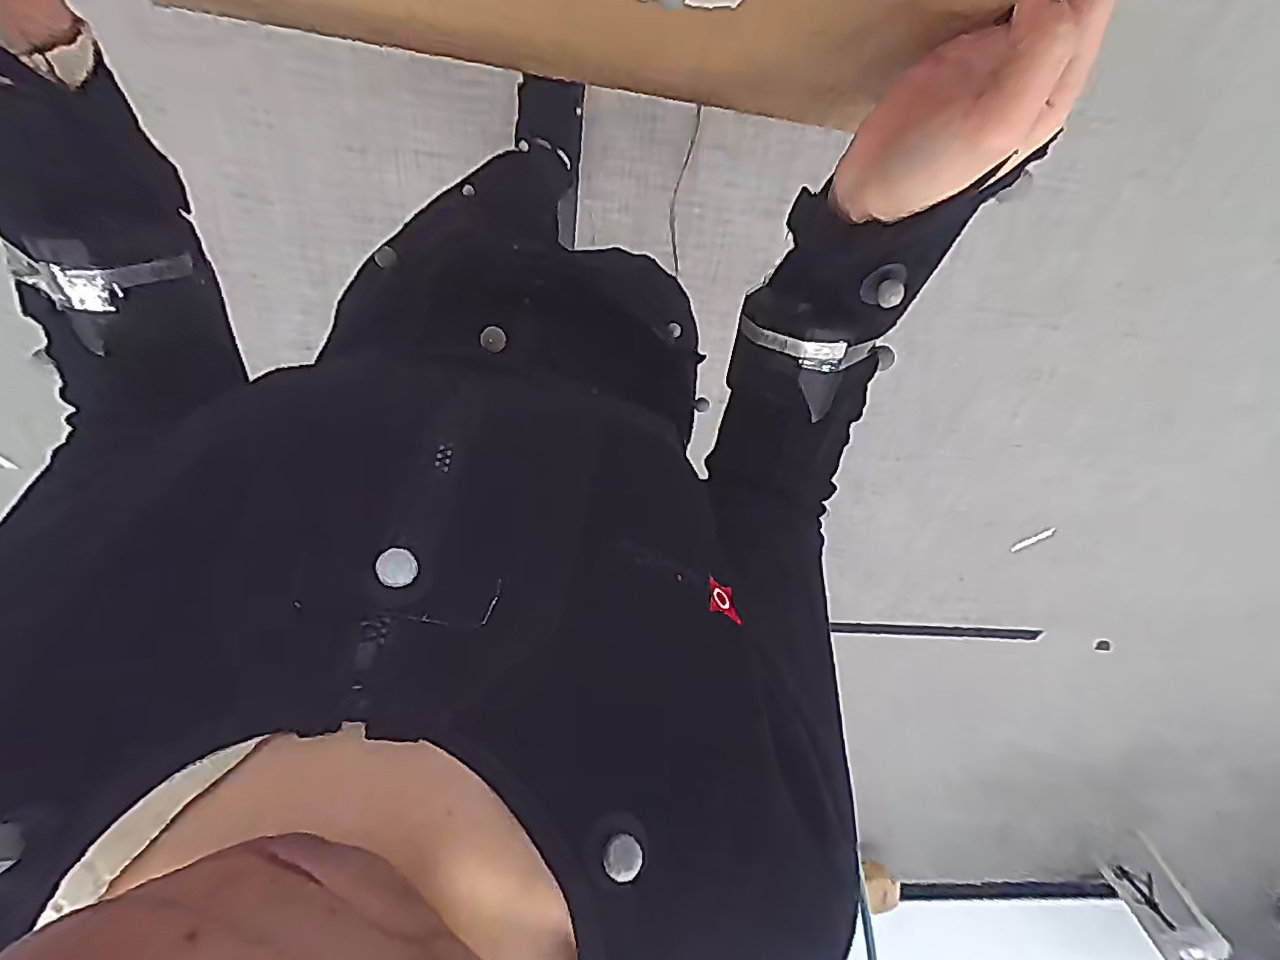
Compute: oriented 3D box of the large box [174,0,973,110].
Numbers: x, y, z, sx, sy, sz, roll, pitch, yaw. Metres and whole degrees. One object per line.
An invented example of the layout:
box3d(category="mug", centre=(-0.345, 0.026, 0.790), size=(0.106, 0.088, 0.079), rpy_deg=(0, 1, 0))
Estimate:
box3d(category="large box", centre=(-0.033, -0.364, 0.139), size=(0.408, 0.320, 0.320), rpy_deg=(5, 101, -6))
